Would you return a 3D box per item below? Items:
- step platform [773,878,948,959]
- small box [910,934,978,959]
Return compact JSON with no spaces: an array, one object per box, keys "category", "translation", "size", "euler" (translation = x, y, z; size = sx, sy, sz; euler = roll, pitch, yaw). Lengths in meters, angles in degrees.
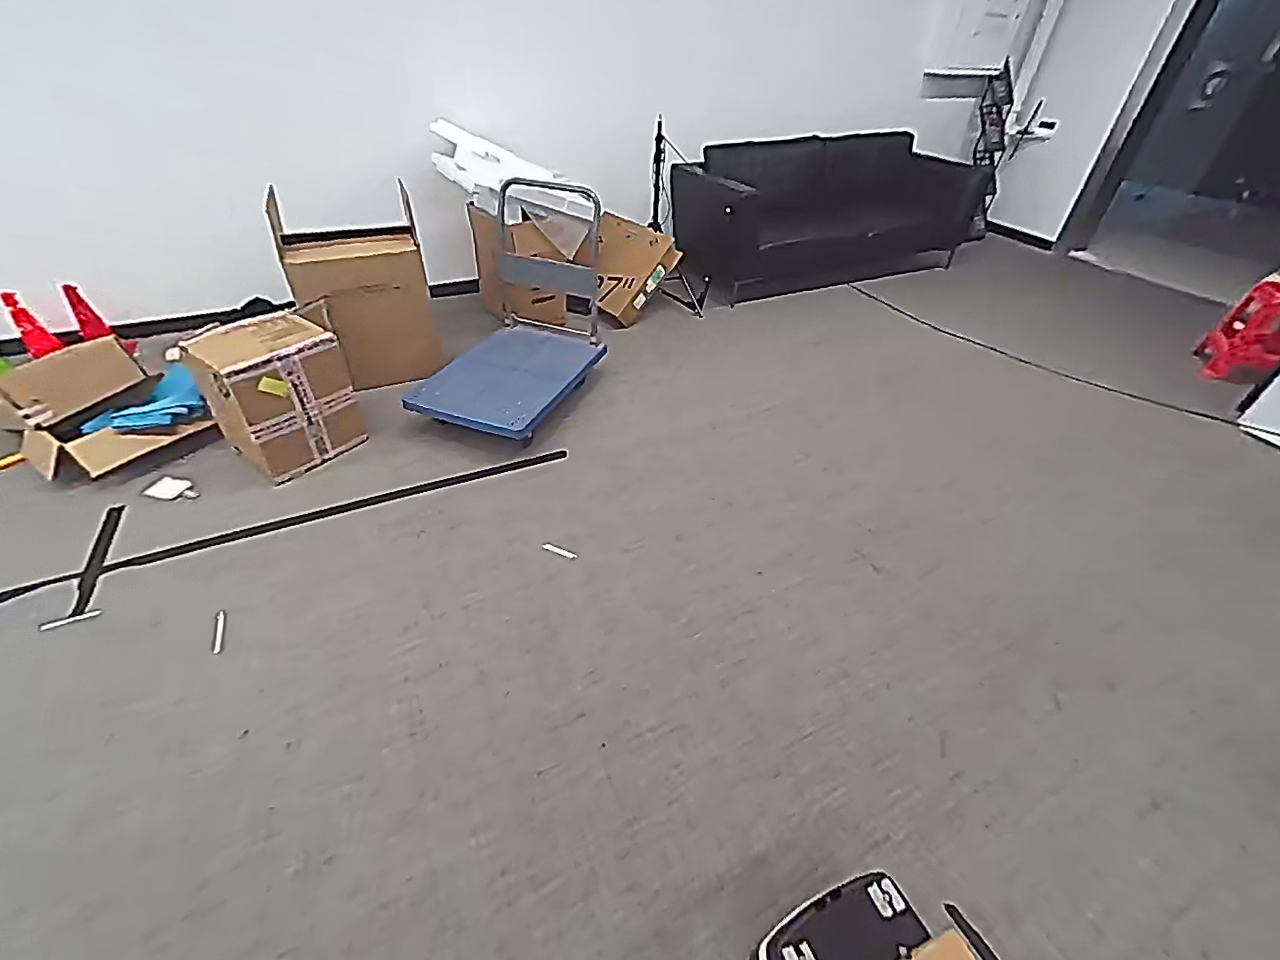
[{"category":"step platform","translation":[0.510,1.031,0.819],"size":[0.286,0.204,0.684],"euler":[-15,42,-21]},{"category":"small box","translation":[0.440,0.822,0.795],"size":[0.179,0.176,0.168],"euler":[-15,42,-20]}]
